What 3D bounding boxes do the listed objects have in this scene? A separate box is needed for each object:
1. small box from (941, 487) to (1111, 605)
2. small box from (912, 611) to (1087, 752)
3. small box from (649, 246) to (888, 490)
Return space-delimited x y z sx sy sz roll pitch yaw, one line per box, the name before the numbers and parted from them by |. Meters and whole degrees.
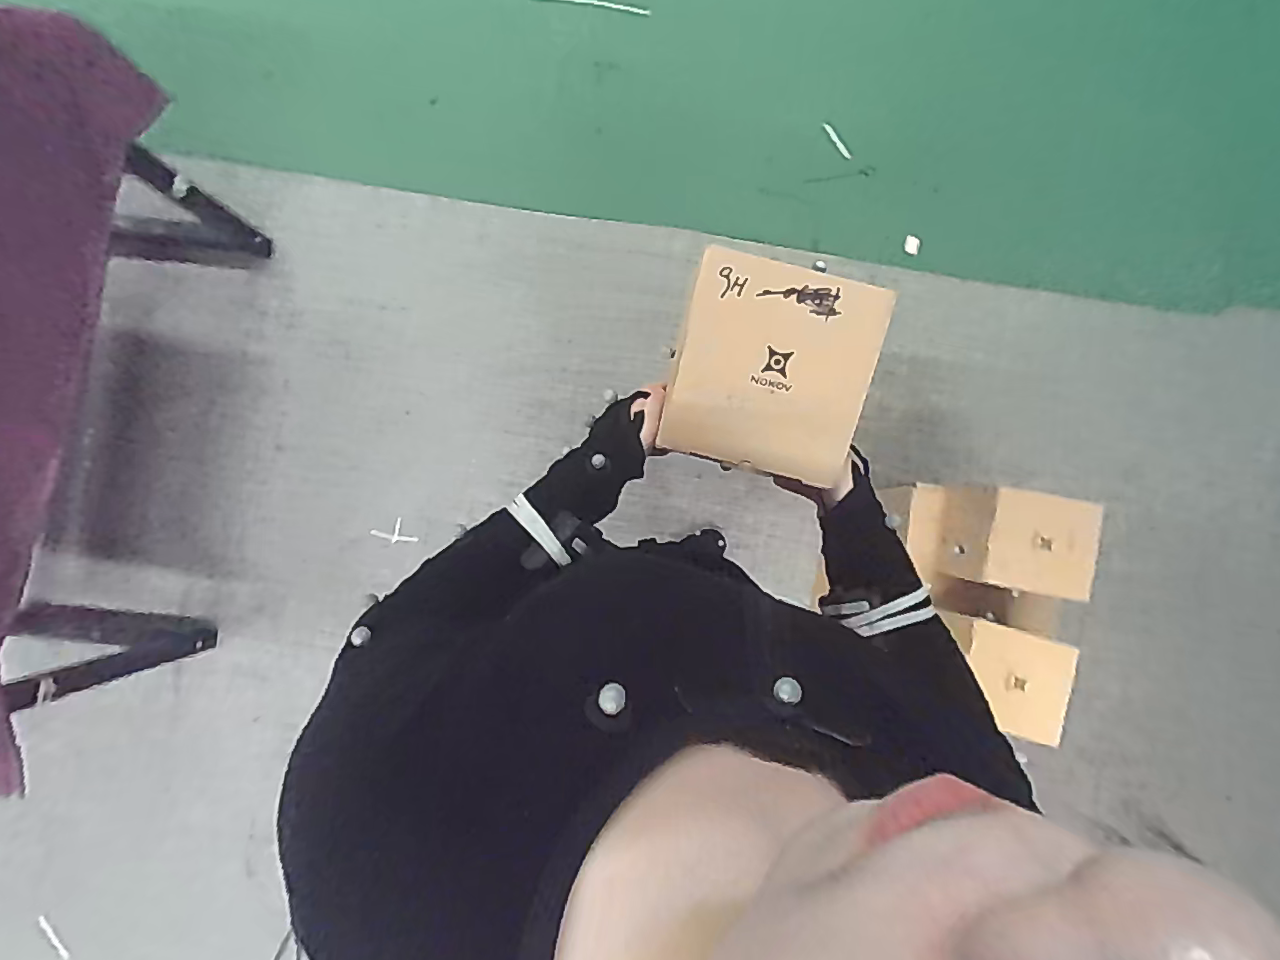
small box | 0.673 0.112 0.964 0.179 0.176 0.168 11 88 2
small box | 0.617 0.339 0.947 0.179 0.176 0.168 16 85 2
small box | 0.109 -0.107 0.536 0.168 0.176 0.179 12 101 -1
